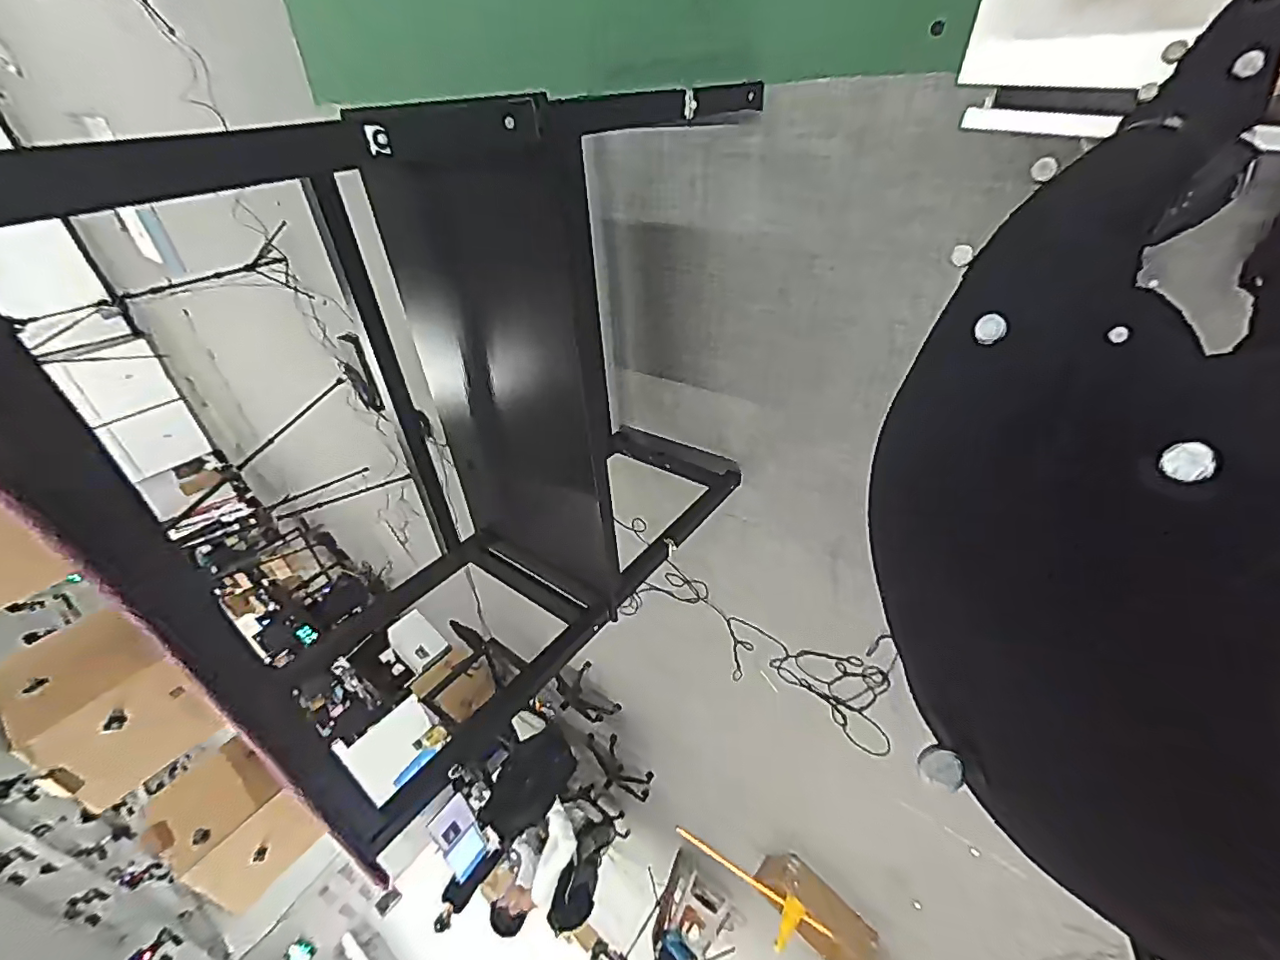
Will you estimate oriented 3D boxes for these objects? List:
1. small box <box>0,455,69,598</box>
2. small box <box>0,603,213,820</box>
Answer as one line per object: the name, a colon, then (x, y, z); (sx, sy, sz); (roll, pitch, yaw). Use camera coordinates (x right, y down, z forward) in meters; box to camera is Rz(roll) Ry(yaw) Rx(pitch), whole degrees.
small box: (-0.750, 0.042, 0.554); (0.168, 0.176, 0.179); (24, 133, 34)
small box: (-0.724, 0.299, 0.730); (0.179, 0.176, 0.168); (24, 132, 31)
